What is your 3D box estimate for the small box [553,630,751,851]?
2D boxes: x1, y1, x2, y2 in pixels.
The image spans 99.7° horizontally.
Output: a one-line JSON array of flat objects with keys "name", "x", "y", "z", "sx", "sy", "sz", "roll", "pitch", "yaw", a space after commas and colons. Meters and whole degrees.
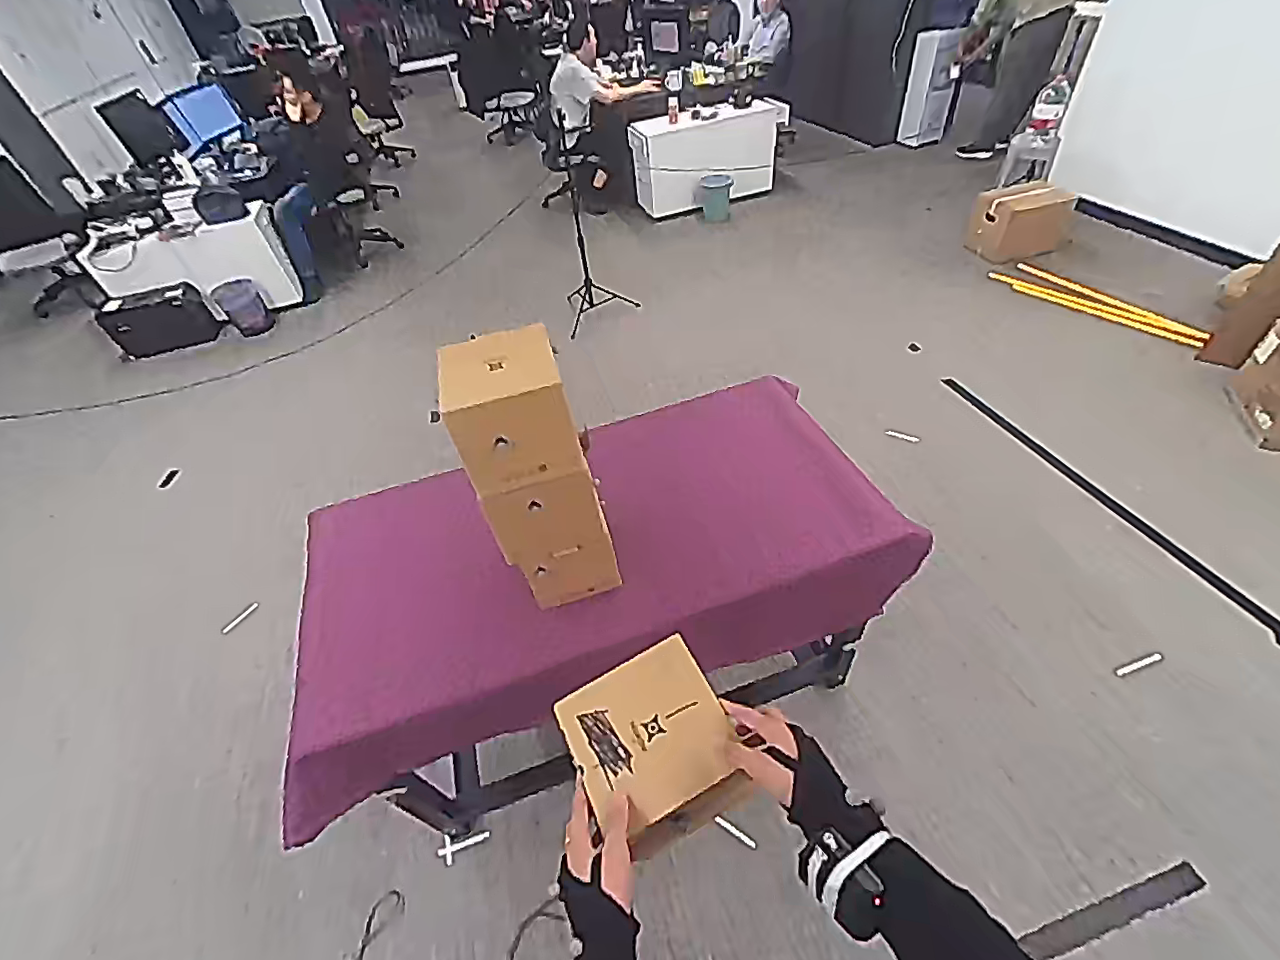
[{"name": "small box", "x": 0.021, "y": 0.325, "z": 0.667, "sx": 0.179, "sy": 0.176, "sz": 0.168, "roll": -28, "pitch": 50, "yaw": -8}]

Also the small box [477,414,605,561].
[{"name": "small box", "x": -0.172, "y": 0.016, "z": 0.936, "sx": 0.179, "sy": 0.176, "sz": 0.168, "roll": -16, "pitch": 46, "yaw": -7}]

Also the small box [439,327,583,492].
[{"name": "small box", "x": -0.194, "y": -0.102, "z": 0.825, "sx": 0.168, "sy": 0.176, "sz": 0.179, "roll": -16, "pitch": 44, "yaw": -7}]
